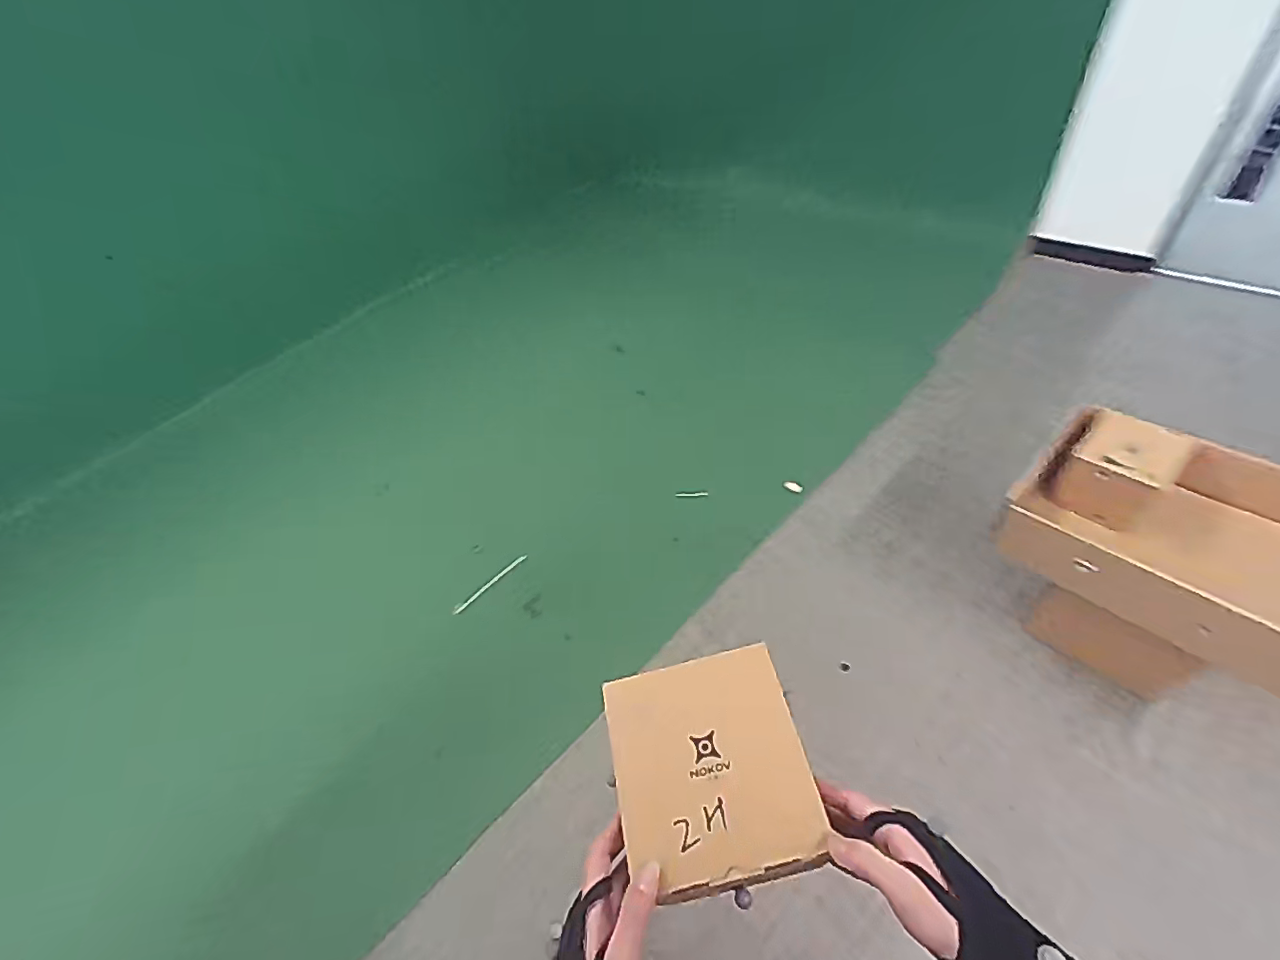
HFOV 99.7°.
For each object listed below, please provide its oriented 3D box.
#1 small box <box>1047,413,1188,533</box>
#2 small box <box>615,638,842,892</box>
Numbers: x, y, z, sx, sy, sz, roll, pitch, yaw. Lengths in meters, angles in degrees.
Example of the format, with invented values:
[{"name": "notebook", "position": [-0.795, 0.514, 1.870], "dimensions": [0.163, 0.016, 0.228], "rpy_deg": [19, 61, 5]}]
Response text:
[{"name": "small box", "position": [1.085, -0.015, 1.245], "dimensions": [0.179, 0.176, 0.168], "rpy_deg": [-39, 52, -19]}, {"name": "small box", "position": [0.078, 0.284, 0.535], "dimensions": [0.168, 0.176, 0.179], "rpy_deg": [-13, 51, 2]}]
